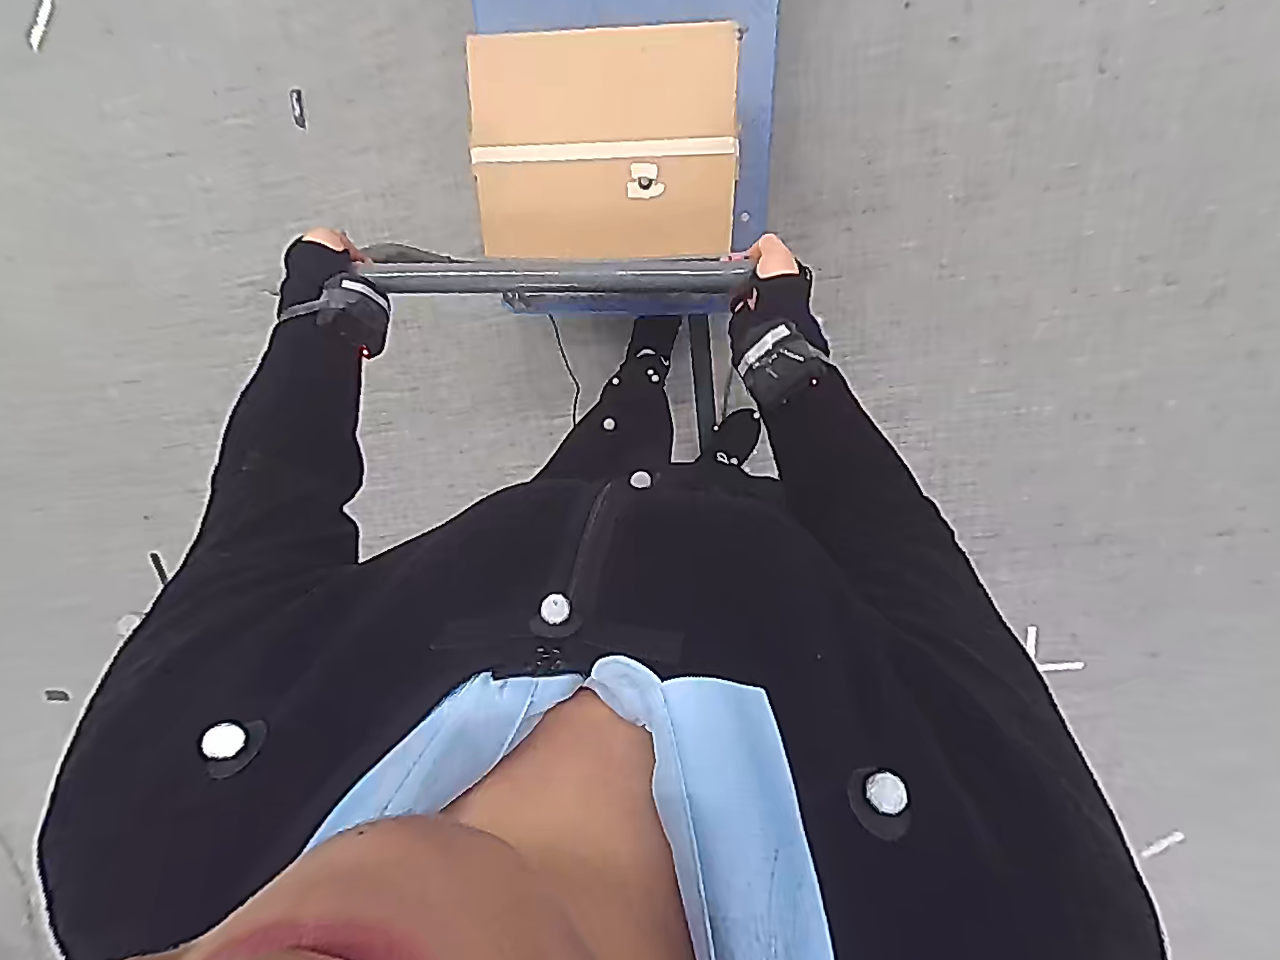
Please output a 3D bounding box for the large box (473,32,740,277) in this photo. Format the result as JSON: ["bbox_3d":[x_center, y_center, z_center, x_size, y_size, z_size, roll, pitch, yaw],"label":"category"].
[{"bbox_3d":[-0.041,-0.545,0.979,0.408,0.320,0.320,1,109,5],"label":"large box"}]
